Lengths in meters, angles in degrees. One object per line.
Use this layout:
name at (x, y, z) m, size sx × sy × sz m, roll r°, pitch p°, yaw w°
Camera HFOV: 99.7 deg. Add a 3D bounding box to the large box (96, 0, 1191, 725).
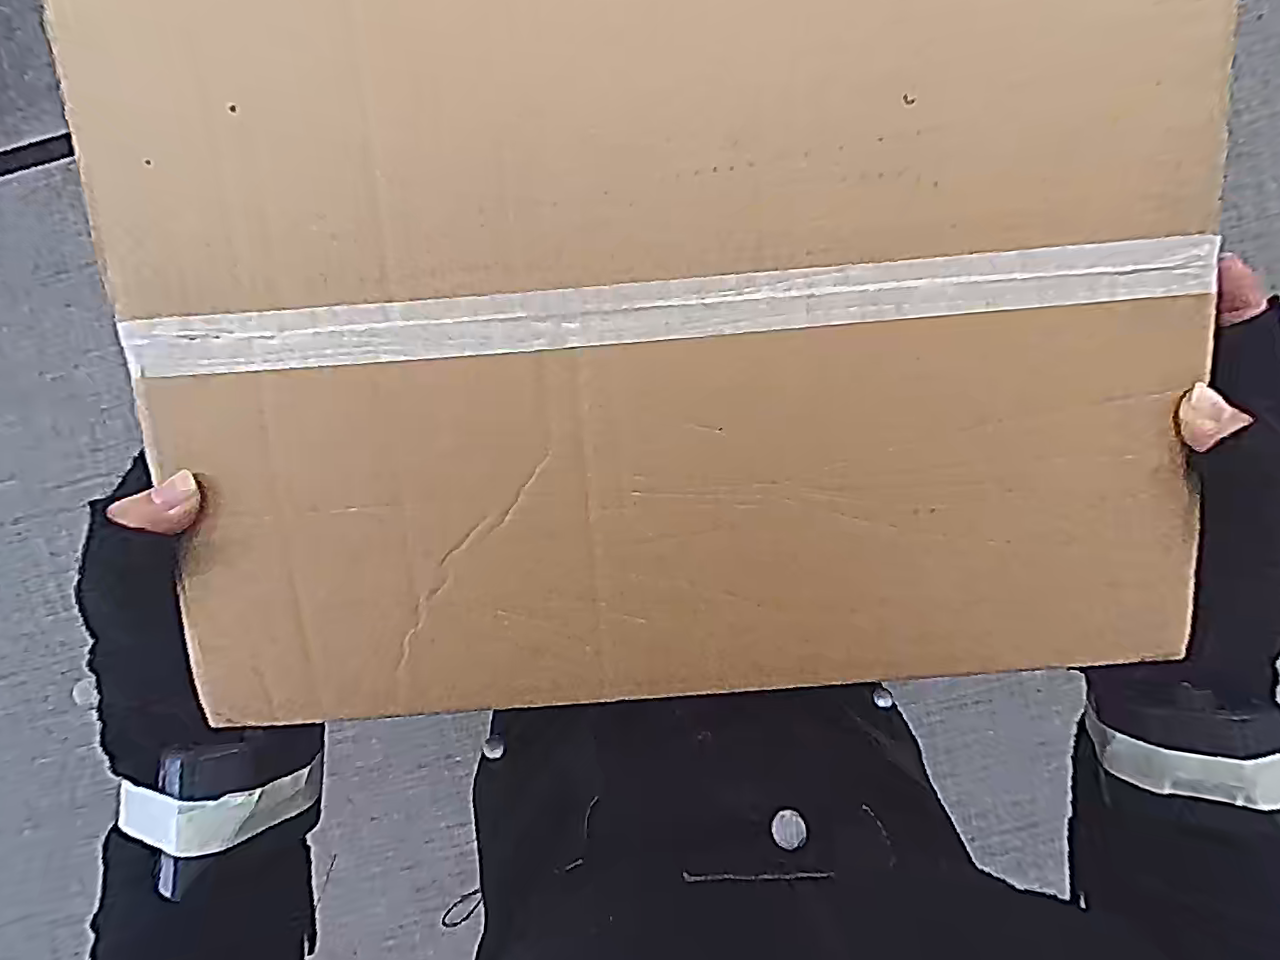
large box at (0.012, -0.082, 0.363) m, size 0.408 × 0.320 × 0.320 m, roll -5°, pitch 98°, yaw 0°
